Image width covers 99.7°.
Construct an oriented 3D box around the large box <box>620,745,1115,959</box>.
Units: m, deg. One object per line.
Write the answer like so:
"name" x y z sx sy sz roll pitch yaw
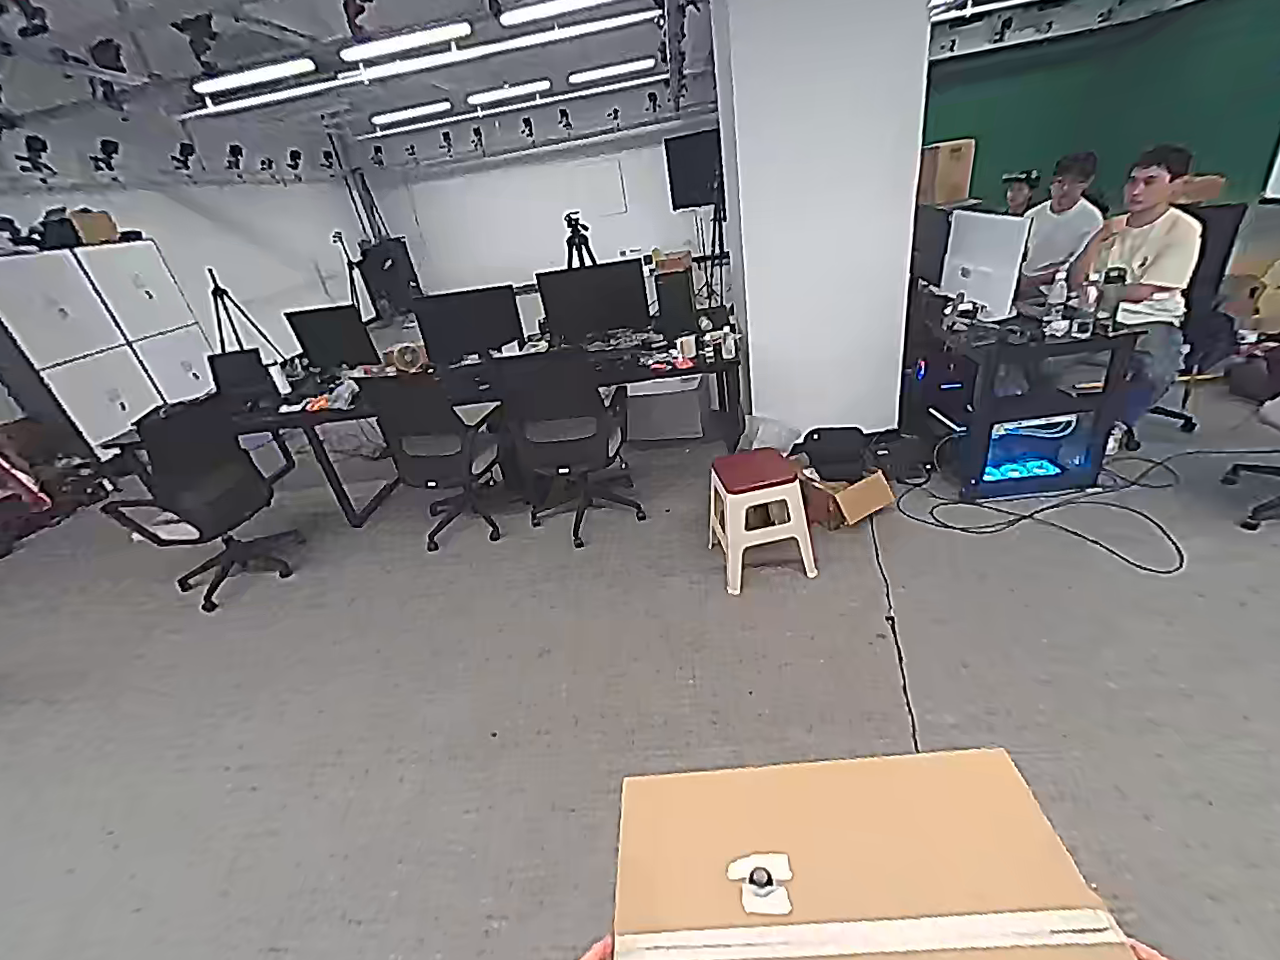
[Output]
"large box" 0.206 0.516 0.538 0.408 0.320 0.320 -9 29 6
